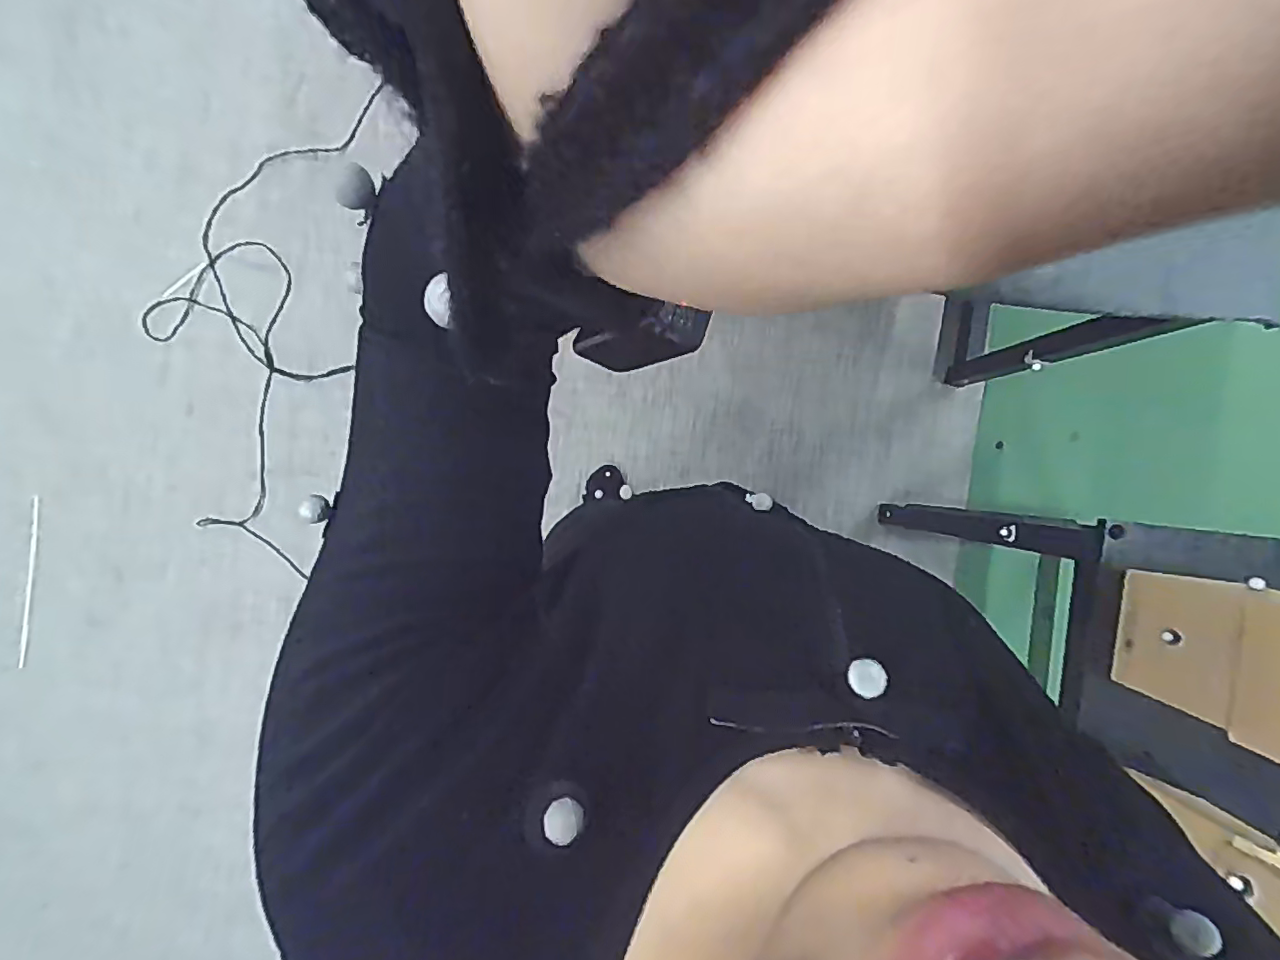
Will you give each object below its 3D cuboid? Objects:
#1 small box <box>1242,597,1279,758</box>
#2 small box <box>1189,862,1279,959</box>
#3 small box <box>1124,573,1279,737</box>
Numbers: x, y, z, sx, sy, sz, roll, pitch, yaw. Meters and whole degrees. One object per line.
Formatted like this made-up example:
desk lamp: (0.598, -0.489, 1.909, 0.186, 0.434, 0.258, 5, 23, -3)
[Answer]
small box: (0.768, 0.228, 0.532, 0.168, 0.176, 0.179, 7, 91, -1)
small box: (0.720, 0.530, 0.534, 0.179, 0.176, 0.168, 25, 91, -2)
small box: (0.783, 0.221, 0.694, 0.179, 0.176, 0.168, 7, 92, -1)
